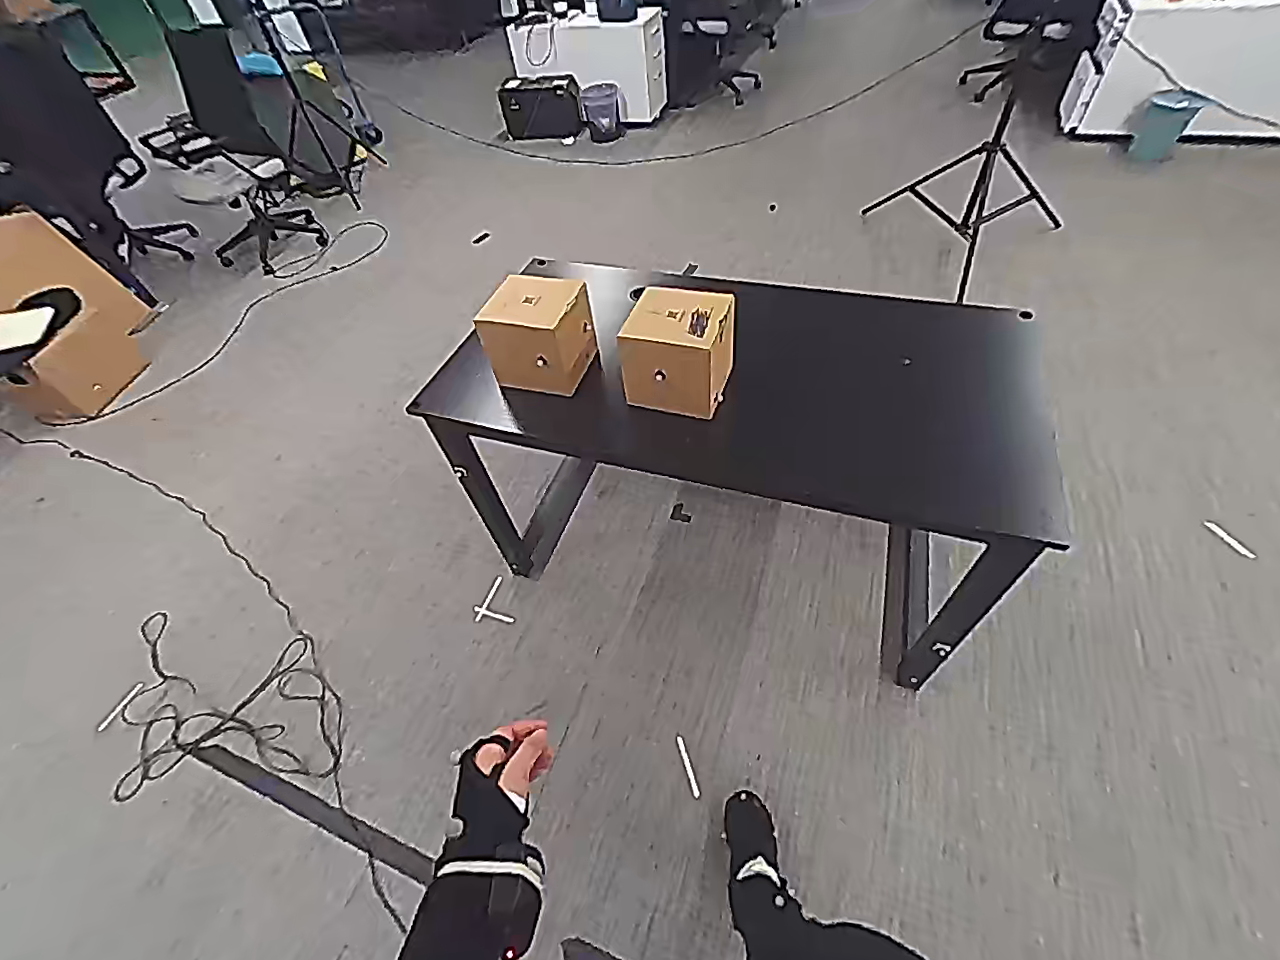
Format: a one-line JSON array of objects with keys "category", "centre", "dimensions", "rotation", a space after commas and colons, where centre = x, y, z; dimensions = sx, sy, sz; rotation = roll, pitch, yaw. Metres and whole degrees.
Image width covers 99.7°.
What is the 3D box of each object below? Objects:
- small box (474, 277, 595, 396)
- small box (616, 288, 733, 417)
[{"category": "small box", "centre": [-0.206, -0.295, 1.121], "dimensions": [0.179, 0.176, 0.168], "rotation": [10, 52, 15]}, {"category": "small box", "centre": [0.073, -0.242, 1.041], "dimensions": [0.179, 0.176, 0.168], "rotation": [12, 54, 18]}]
